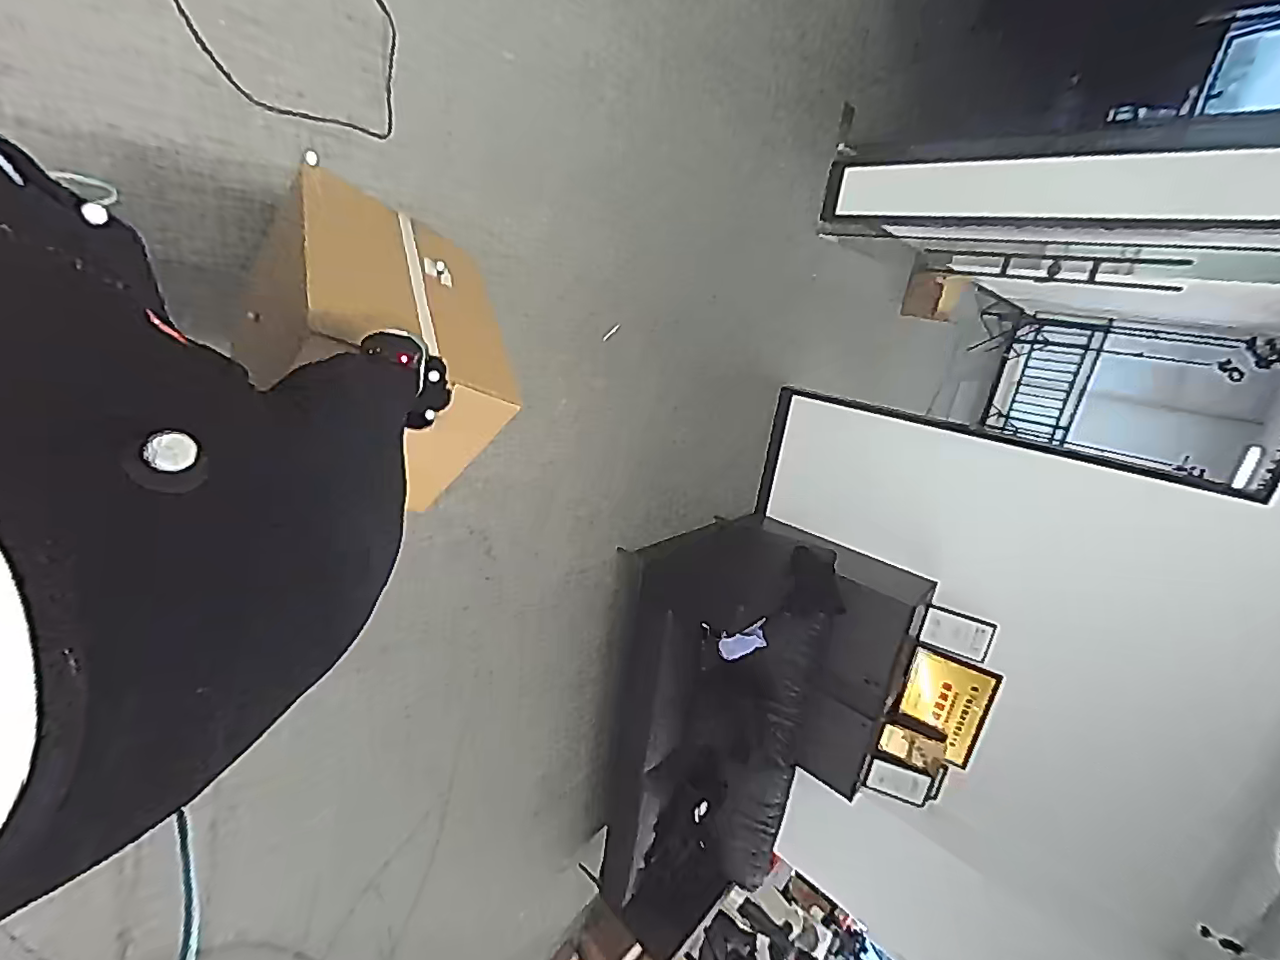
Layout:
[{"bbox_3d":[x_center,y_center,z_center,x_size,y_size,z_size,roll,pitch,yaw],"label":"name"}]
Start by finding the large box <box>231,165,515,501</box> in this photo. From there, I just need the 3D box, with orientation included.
[{"bbox_3d":[-0.468,-0.222,0.925,0.320,0.408,0.320,-40,146,26],"label":"large box"}]
